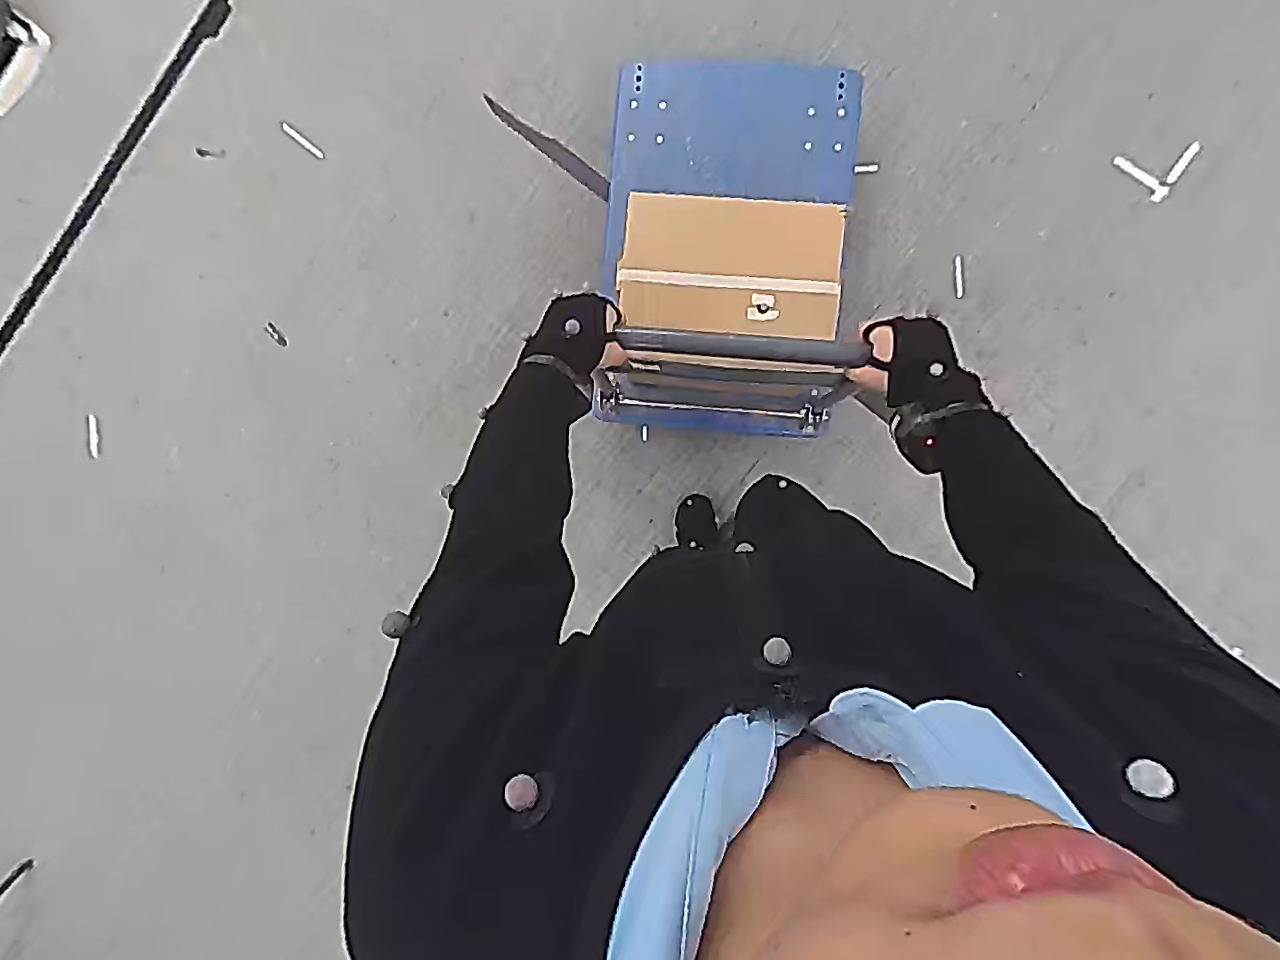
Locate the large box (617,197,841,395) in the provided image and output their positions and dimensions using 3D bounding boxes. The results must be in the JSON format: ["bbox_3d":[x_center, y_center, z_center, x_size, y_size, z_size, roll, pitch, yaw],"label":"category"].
[{"bbox_3d":[0.169,-0.368,1.159,0.408,0.320,0.320,5,92,3],"label":"large box"}]
